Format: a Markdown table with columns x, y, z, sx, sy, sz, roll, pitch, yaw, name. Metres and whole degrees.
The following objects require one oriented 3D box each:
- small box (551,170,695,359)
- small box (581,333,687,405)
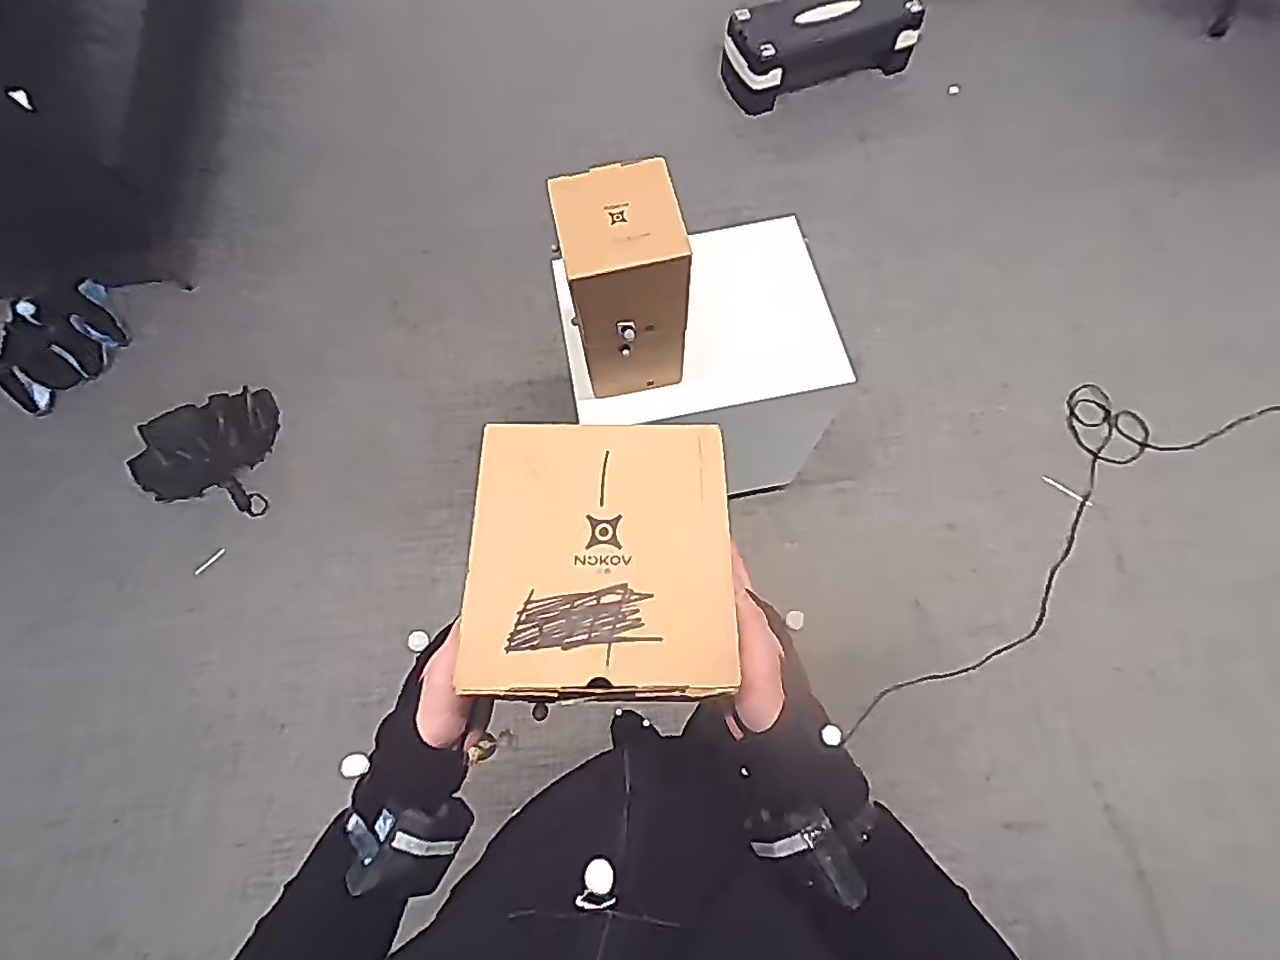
| x | y | z | sx | sy | sz | roll | pitch | yaw | name |
| --- | --- | --- | --- | --- | --- | --- | --- | --- | --- |
| -0.022 | -0.306 | 0.792 | 0.168 | 0.176 | 0.179 | -13 | 71 | 0 | small box |
| -0.018 | -0.256 | 0.946 | 0.168 | 0.176 | 0.179 | -11 | 69 | -1 | small box |
